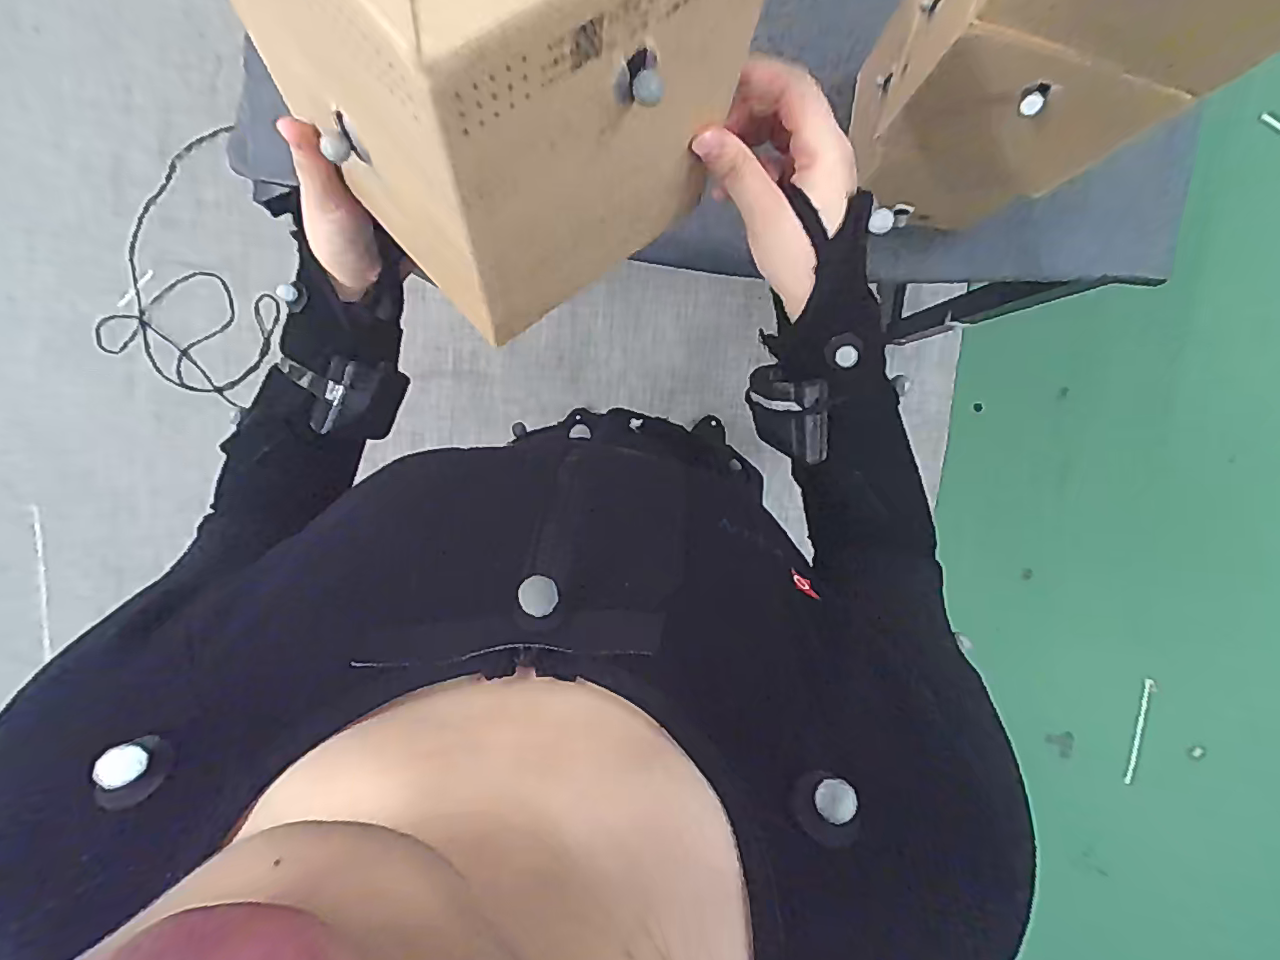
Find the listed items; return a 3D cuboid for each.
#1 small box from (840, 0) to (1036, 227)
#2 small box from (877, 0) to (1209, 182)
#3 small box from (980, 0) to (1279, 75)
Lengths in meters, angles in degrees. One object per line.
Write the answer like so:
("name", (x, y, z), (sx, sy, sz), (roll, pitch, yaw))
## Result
("small box", (0.340, -0.411, 0.607), (0.168, 0.176, 0.179), (7, 97, 2))
("small box", (0.334, -0.378, 0.447), (0.179, 0.176, 0.168), (18, 96, 1))
("small box", (0.332, -0.362, 0.283), (0.179, 0.176, 0.168), (19, 96, 1))
